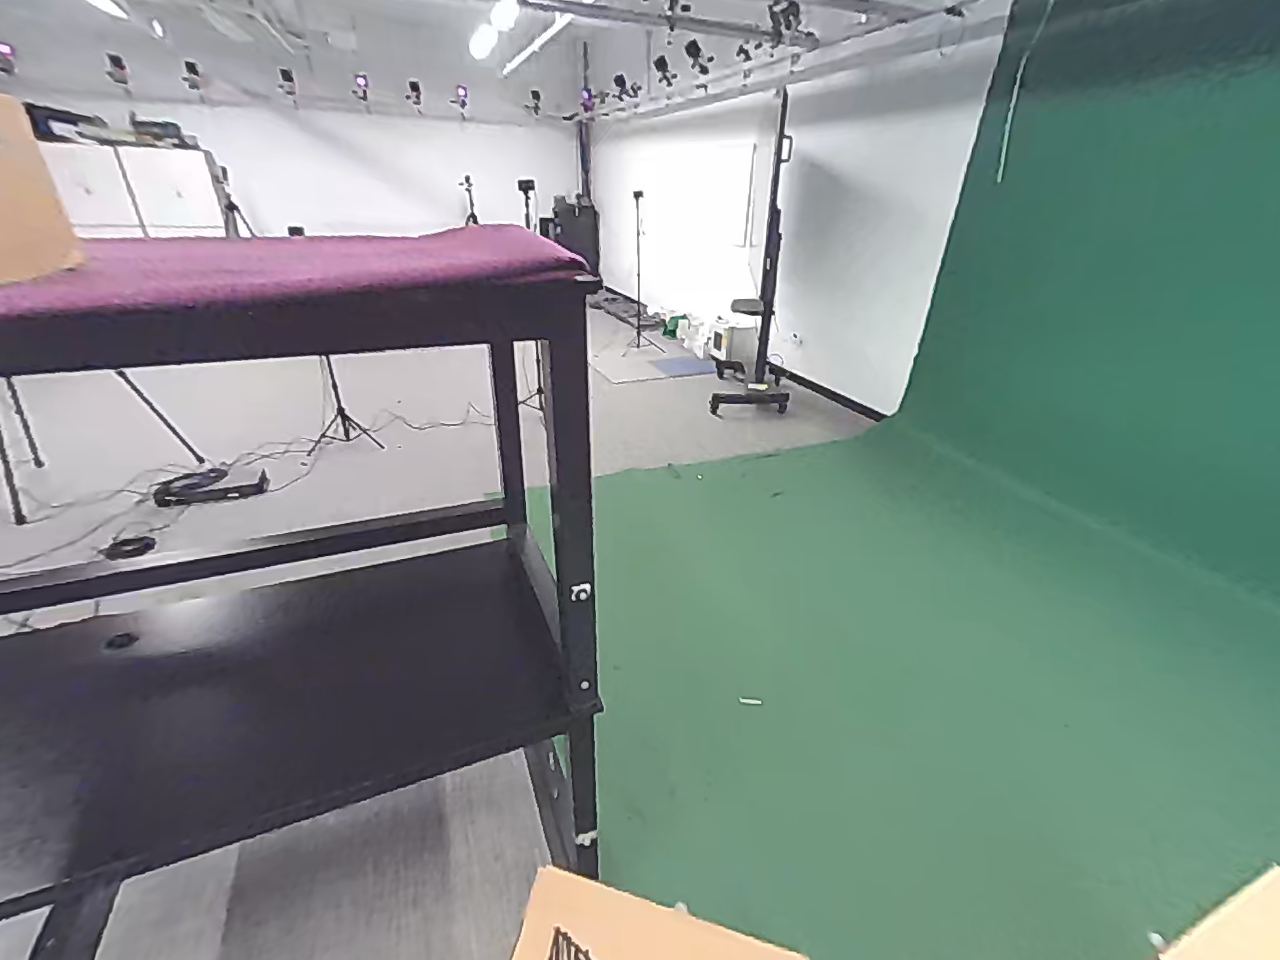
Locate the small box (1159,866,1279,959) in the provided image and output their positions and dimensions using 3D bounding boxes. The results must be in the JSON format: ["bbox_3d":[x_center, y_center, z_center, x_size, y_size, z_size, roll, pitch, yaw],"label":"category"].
[{"bbox_3d":[0.471,0.429,0.374,0.168,0.176,0.179,-11,32,-20],"label":"small box"}]

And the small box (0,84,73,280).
[{"bbox_3d":[-0.680,-0.271,0.485,0.168,0.176,0.179,-7,29,-18],"label":"small box"}]
